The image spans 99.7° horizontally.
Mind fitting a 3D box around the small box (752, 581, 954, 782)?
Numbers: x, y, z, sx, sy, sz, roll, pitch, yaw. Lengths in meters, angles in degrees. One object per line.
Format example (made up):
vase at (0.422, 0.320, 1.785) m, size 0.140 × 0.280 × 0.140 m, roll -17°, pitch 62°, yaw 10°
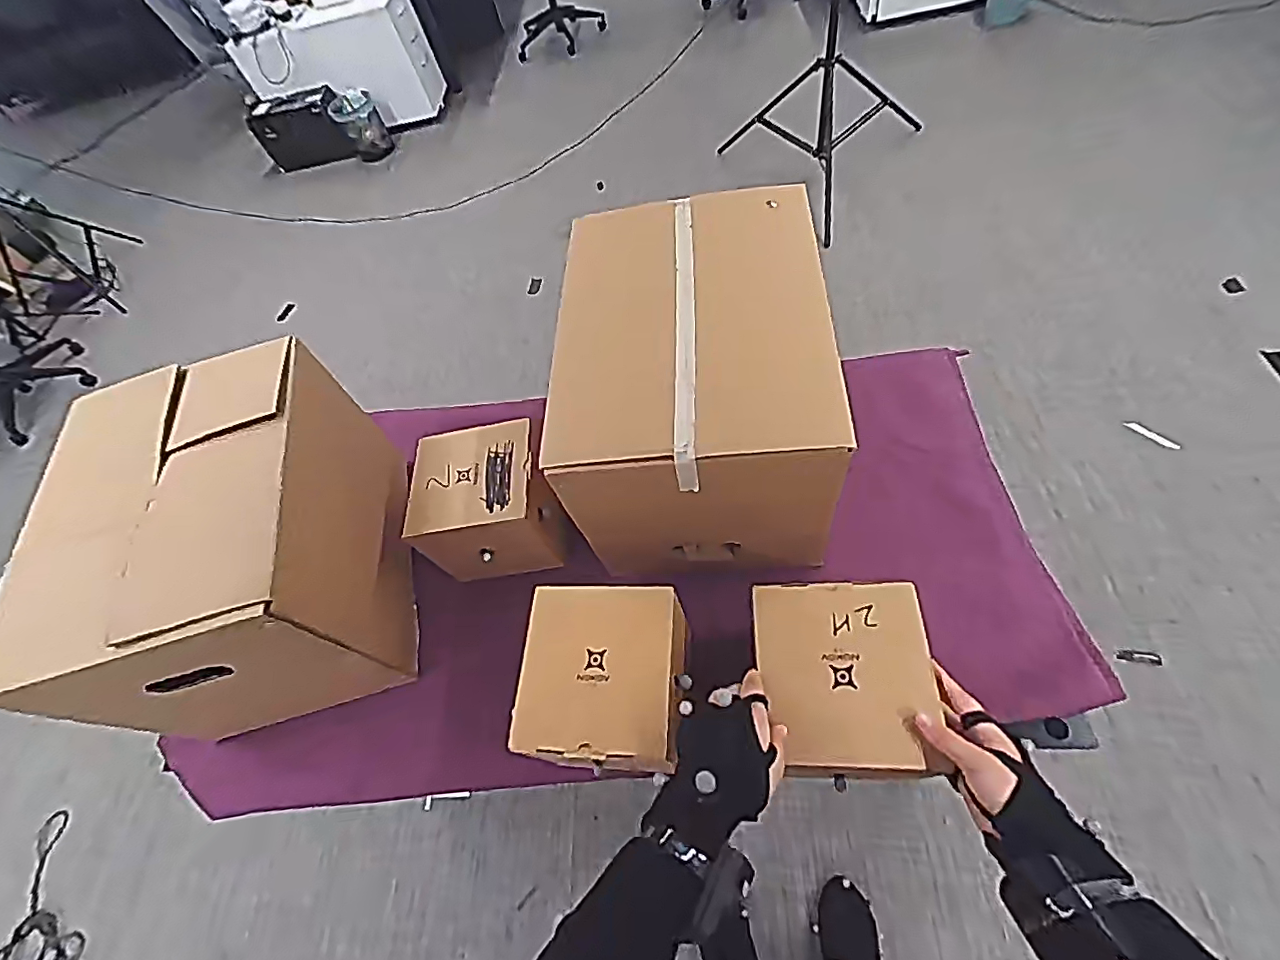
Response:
small box at (0.211, 0.222, 0.587) m, size 0.168 × 0.176 × 0.179 m, roll -3°, pitch 57°, yaw 10°
